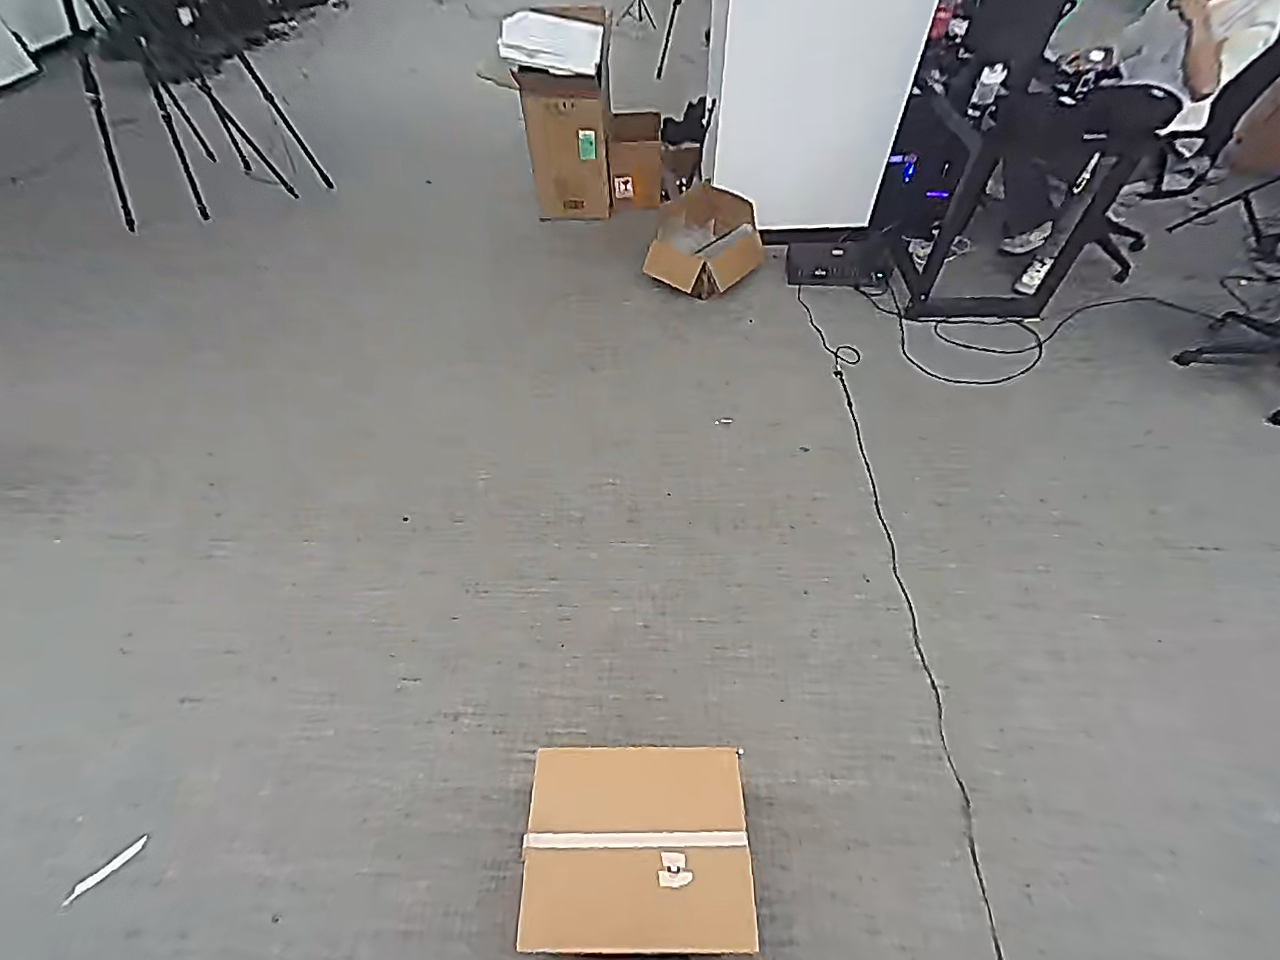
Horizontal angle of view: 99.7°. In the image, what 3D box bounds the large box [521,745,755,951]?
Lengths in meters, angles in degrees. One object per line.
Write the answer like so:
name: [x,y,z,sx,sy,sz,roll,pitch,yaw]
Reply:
large box: [-0.007,0.754,1.112,0.408,0.320,0.320,0,51,0]
